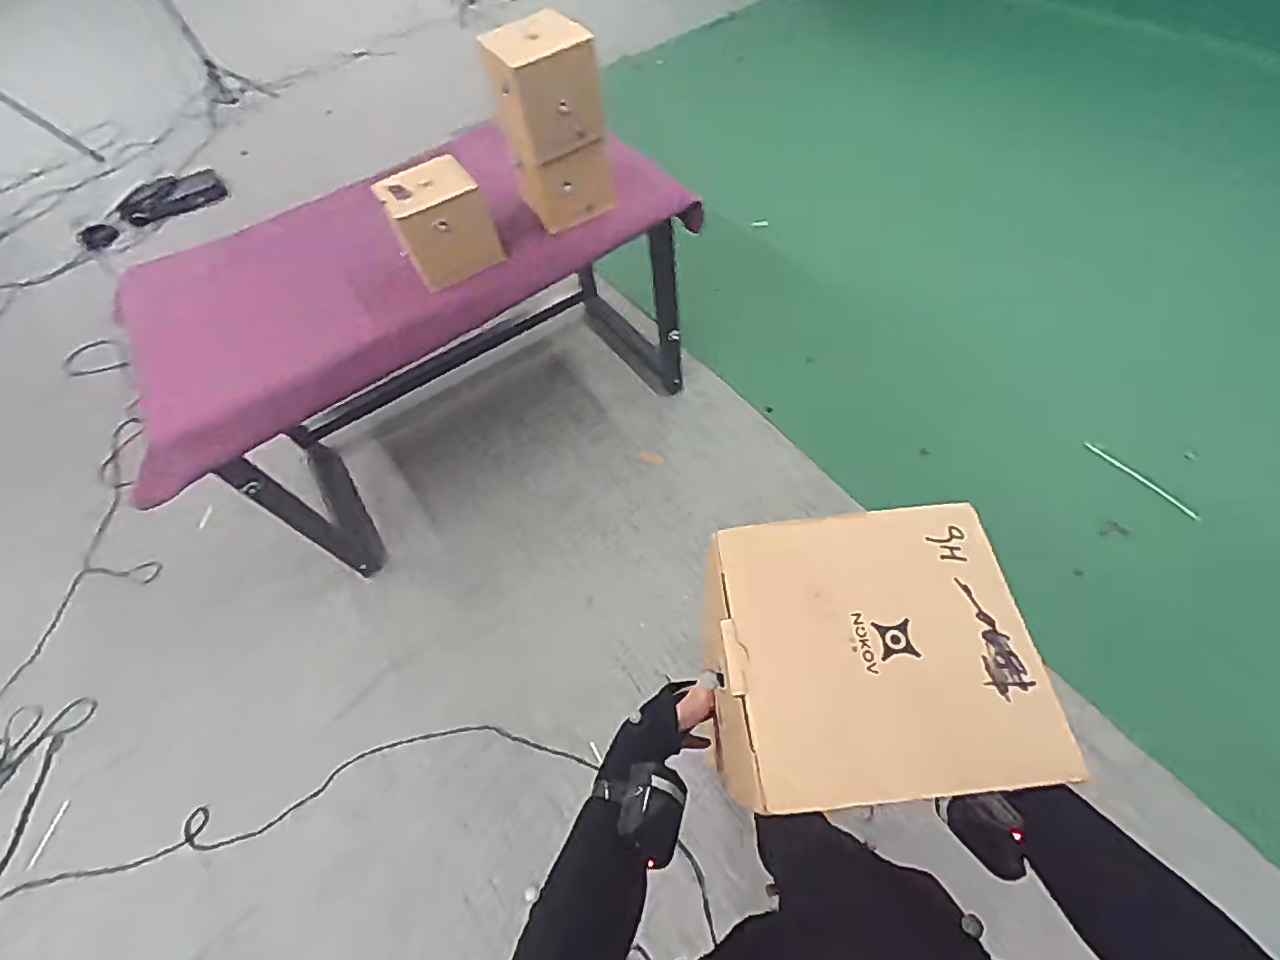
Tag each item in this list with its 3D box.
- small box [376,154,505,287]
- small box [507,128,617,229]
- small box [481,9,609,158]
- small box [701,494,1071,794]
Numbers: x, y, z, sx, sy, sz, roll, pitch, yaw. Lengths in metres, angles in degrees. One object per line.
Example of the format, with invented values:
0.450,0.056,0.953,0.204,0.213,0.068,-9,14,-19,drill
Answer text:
-0.407,-0.534,1.123,0.179,0.176,0.168,-30,59,-13,small box
-0.165,-0.682,1.189,0.168,0.176,0.179,-27,60,-9,small box
-0.175,-0.753,1.040,0.168,0.176,0.179,-29,60,-11,small box
0.140,0.128,0.393,0.179,0.176,0.168,-6,61,0,small box
